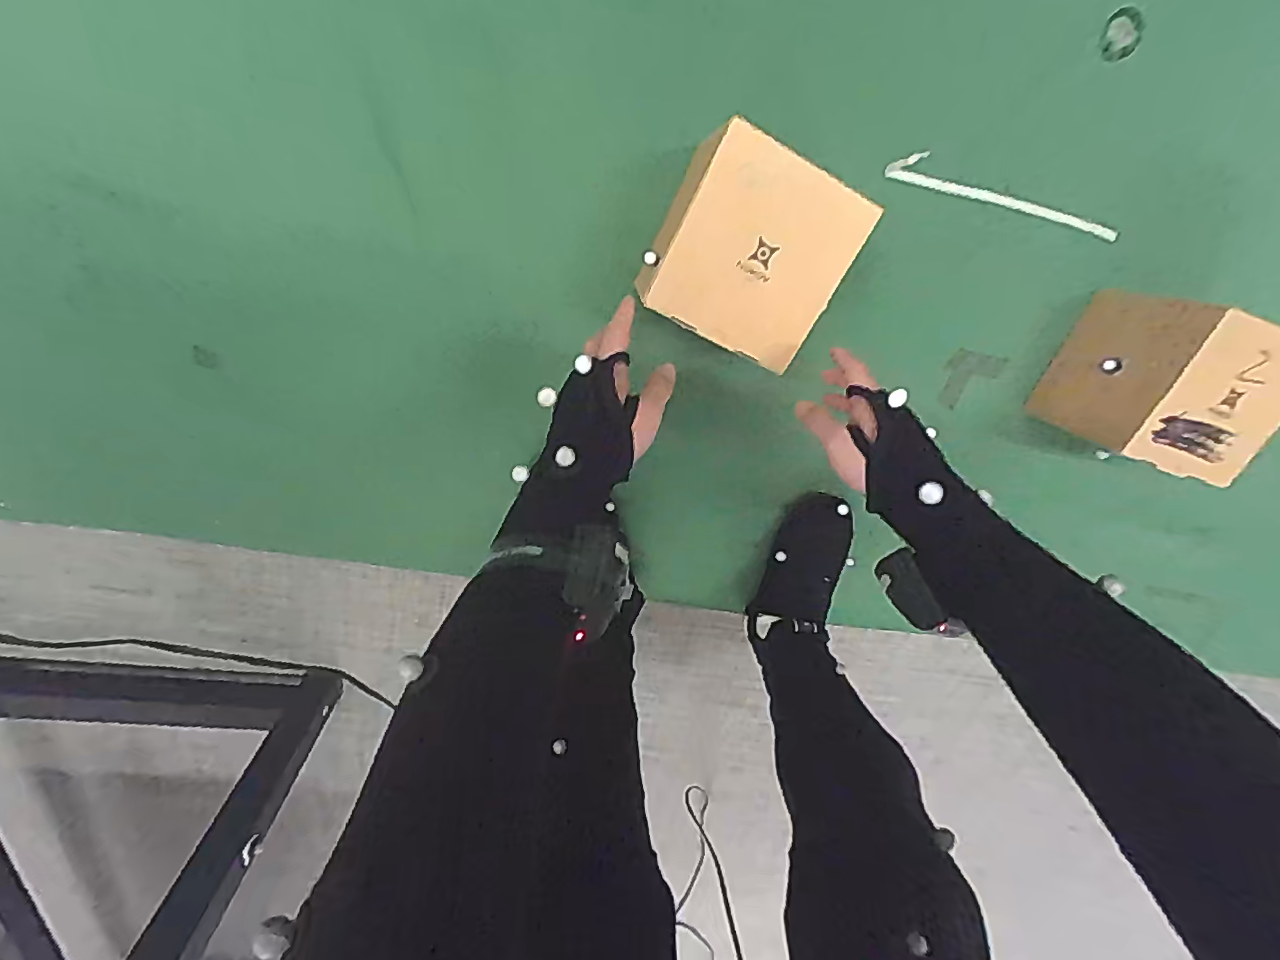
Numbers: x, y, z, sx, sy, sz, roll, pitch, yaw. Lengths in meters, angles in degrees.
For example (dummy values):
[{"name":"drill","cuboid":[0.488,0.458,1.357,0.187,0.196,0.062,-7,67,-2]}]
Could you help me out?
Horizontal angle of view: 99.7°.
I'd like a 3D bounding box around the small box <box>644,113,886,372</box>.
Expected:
[{"name":"small box","cuboid":[0.112,-0.247,0.577,0.168,0.176,0.179,23,114,-14]}]
